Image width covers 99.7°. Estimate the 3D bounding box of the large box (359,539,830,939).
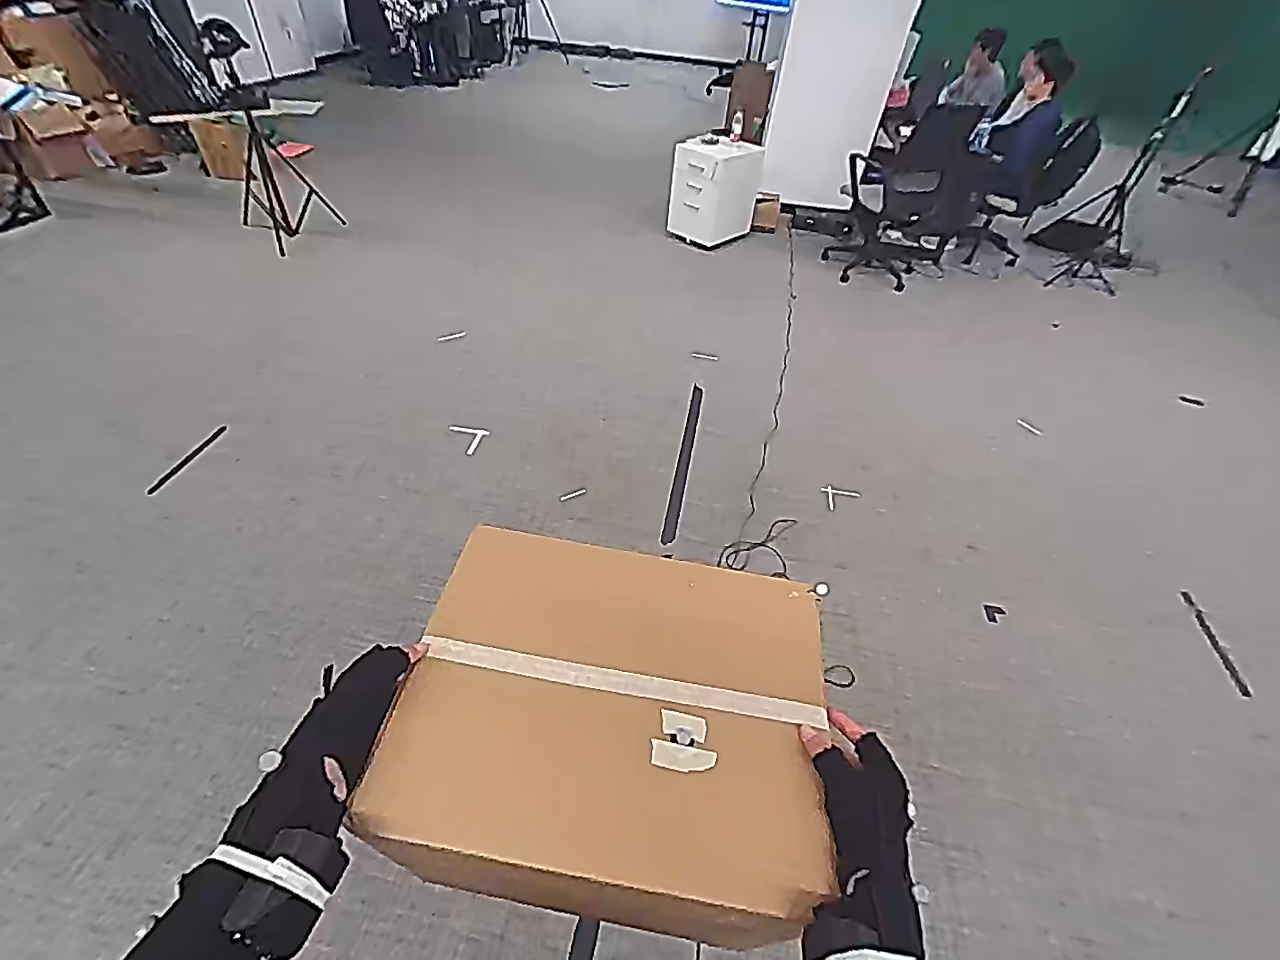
[{"bbox_3d":[-0.035,0.311,0.651,0.408,0.320,0.320,10,47,2],"label":"large box"}]
